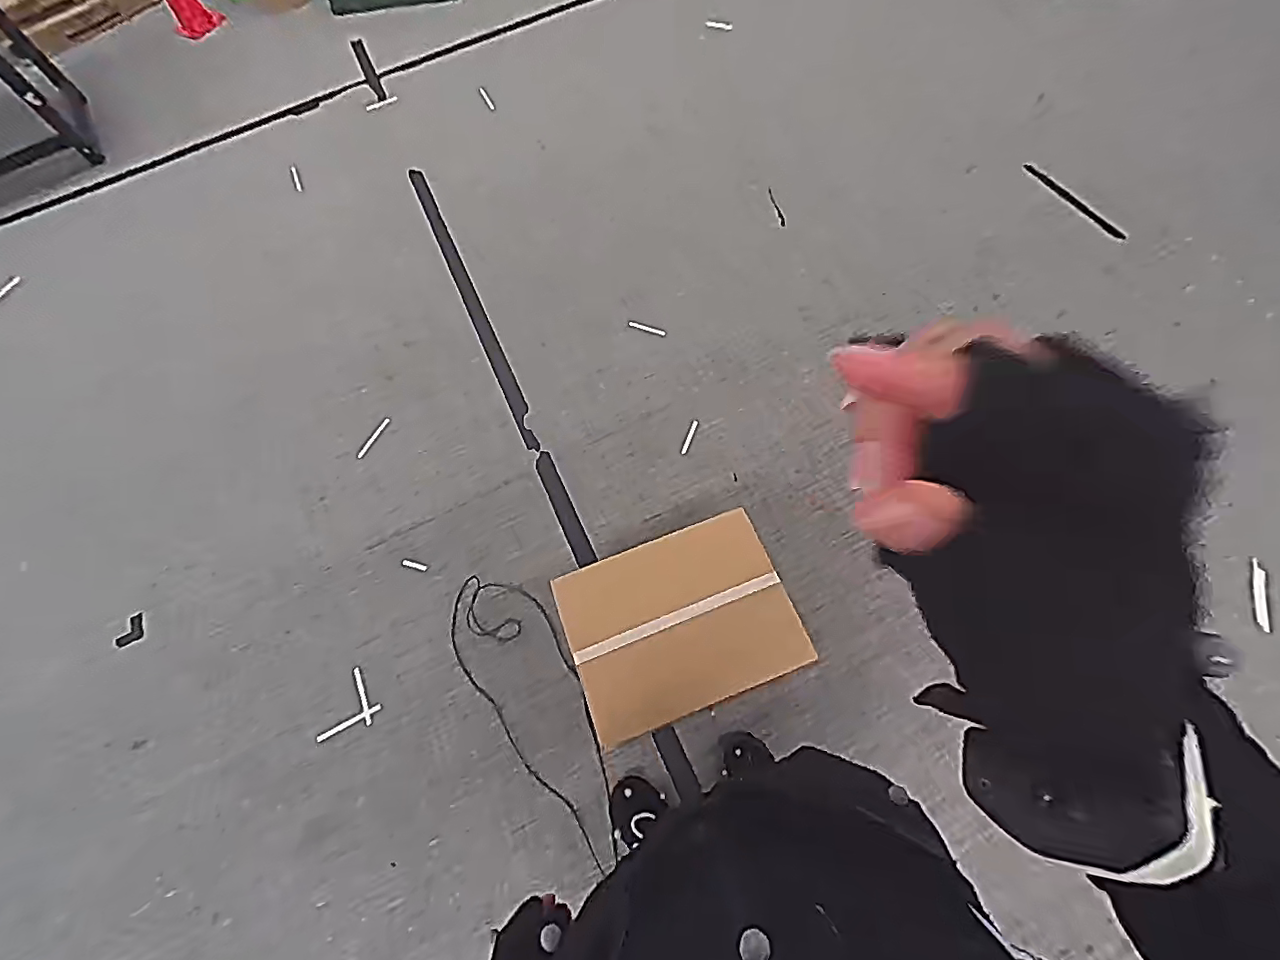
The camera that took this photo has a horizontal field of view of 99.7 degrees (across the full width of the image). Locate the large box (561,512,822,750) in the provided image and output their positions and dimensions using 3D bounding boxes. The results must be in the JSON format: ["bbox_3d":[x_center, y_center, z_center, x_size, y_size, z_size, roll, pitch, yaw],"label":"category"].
[{"bbox_3d":[0.095,0.323,1.121,0.408,0.320,0.320,-21,66,-5],"label":"large box"}]
